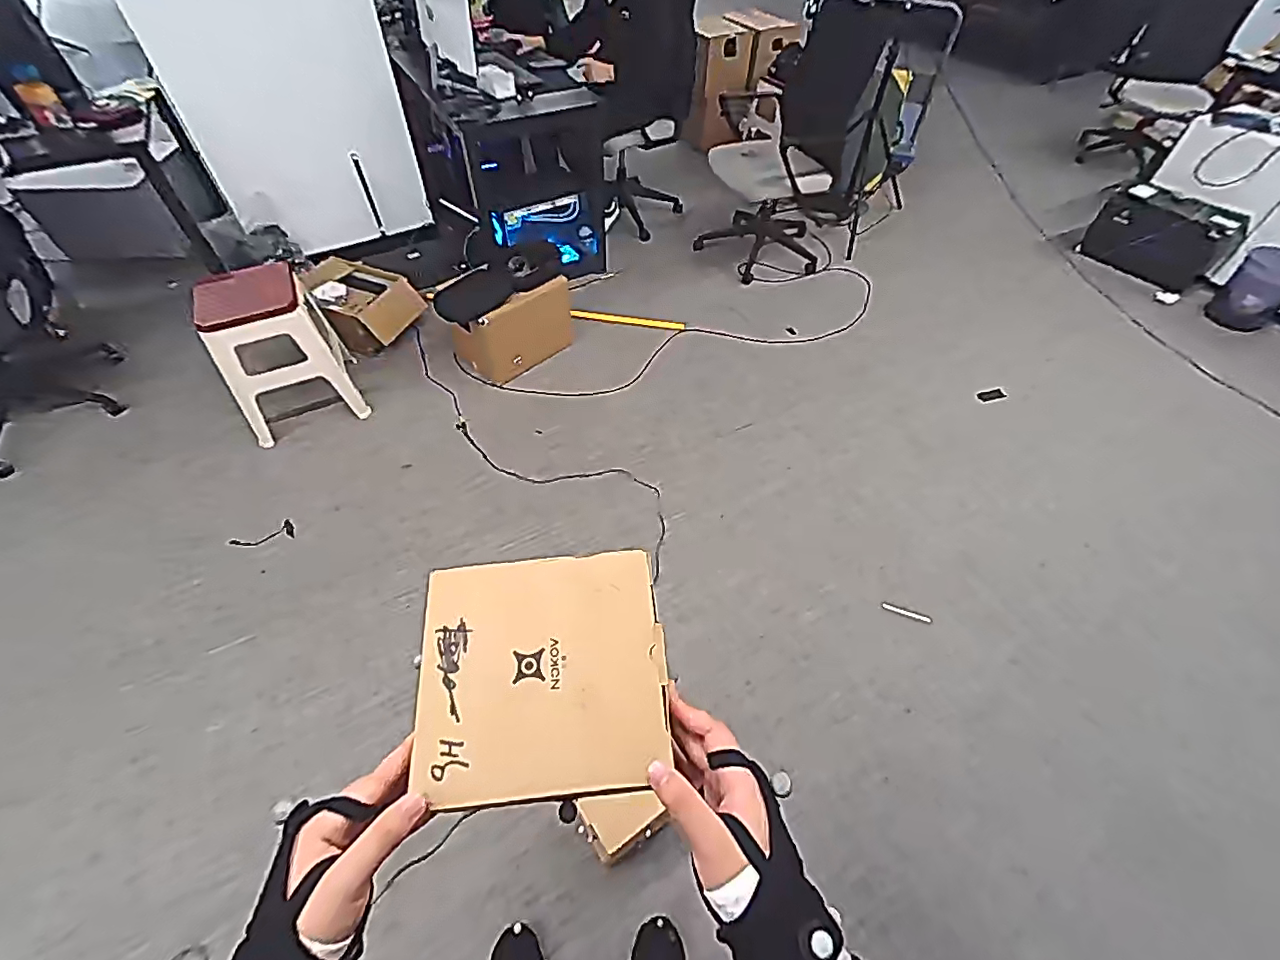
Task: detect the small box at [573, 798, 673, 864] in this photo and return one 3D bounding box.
[{"bbox_3d":[-0.045,0.729,1.221,0.179,0.176,0.168,-26,57,-20],"label":"small box"}]

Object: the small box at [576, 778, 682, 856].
[{"bbox_3d":[-0.036,0.625,1.096,0.179,0.176,0.168,-28,58,-23],"label":"small box"}]

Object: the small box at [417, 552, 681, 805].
[{"bbox_3d":[-0.067,0.175,0.464,0.179,0.176,0.168,-5,58,-4],"label":"small box"}]
